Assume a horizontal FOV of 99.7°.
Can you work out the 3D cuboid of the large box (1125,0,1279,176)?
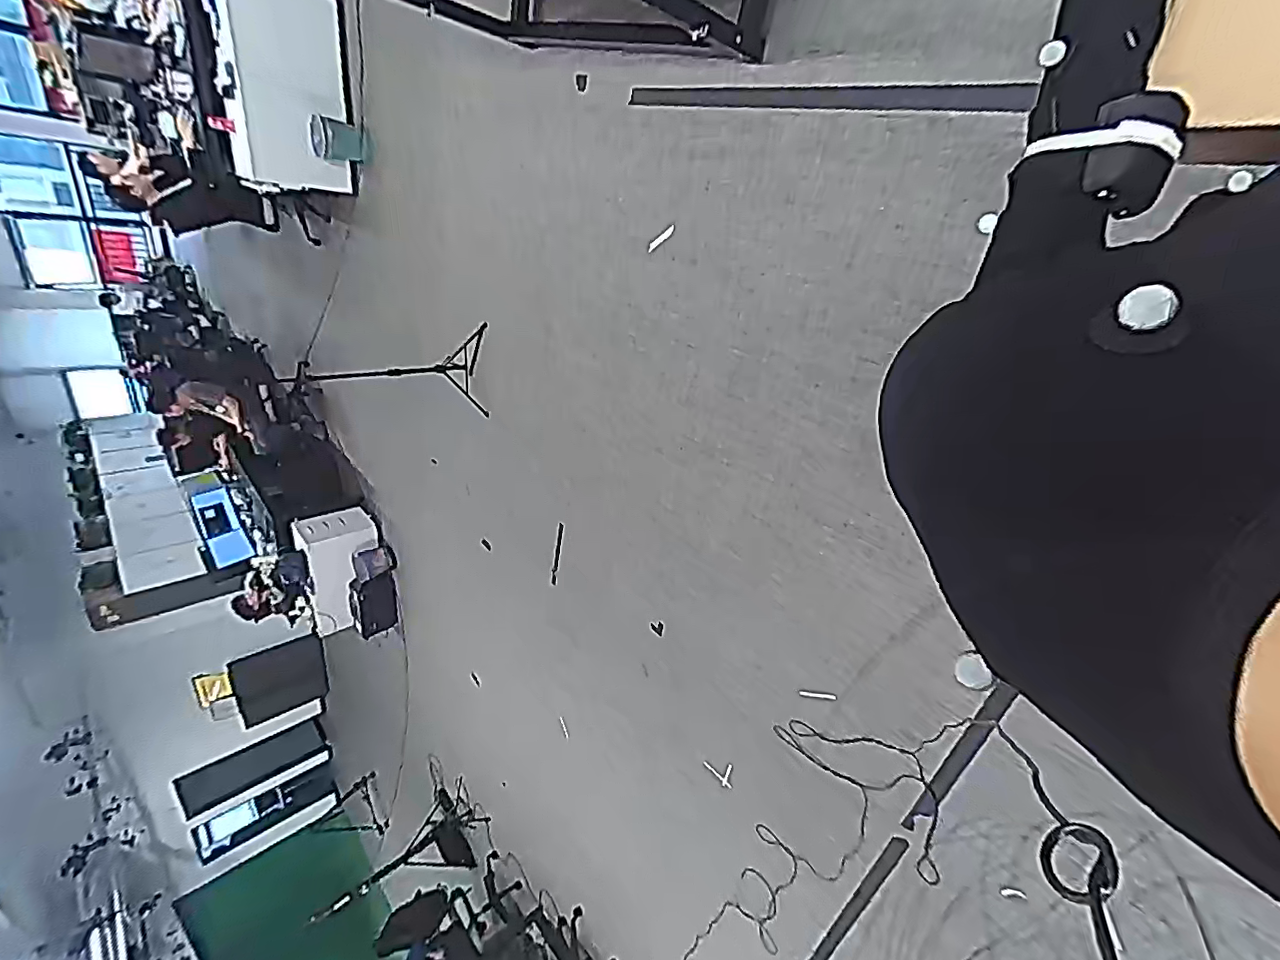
[{"bbox_3d":[0.619,-0.381,0.337,0.408,0.320,0.320,23,124,35],"label":"large box"}]
